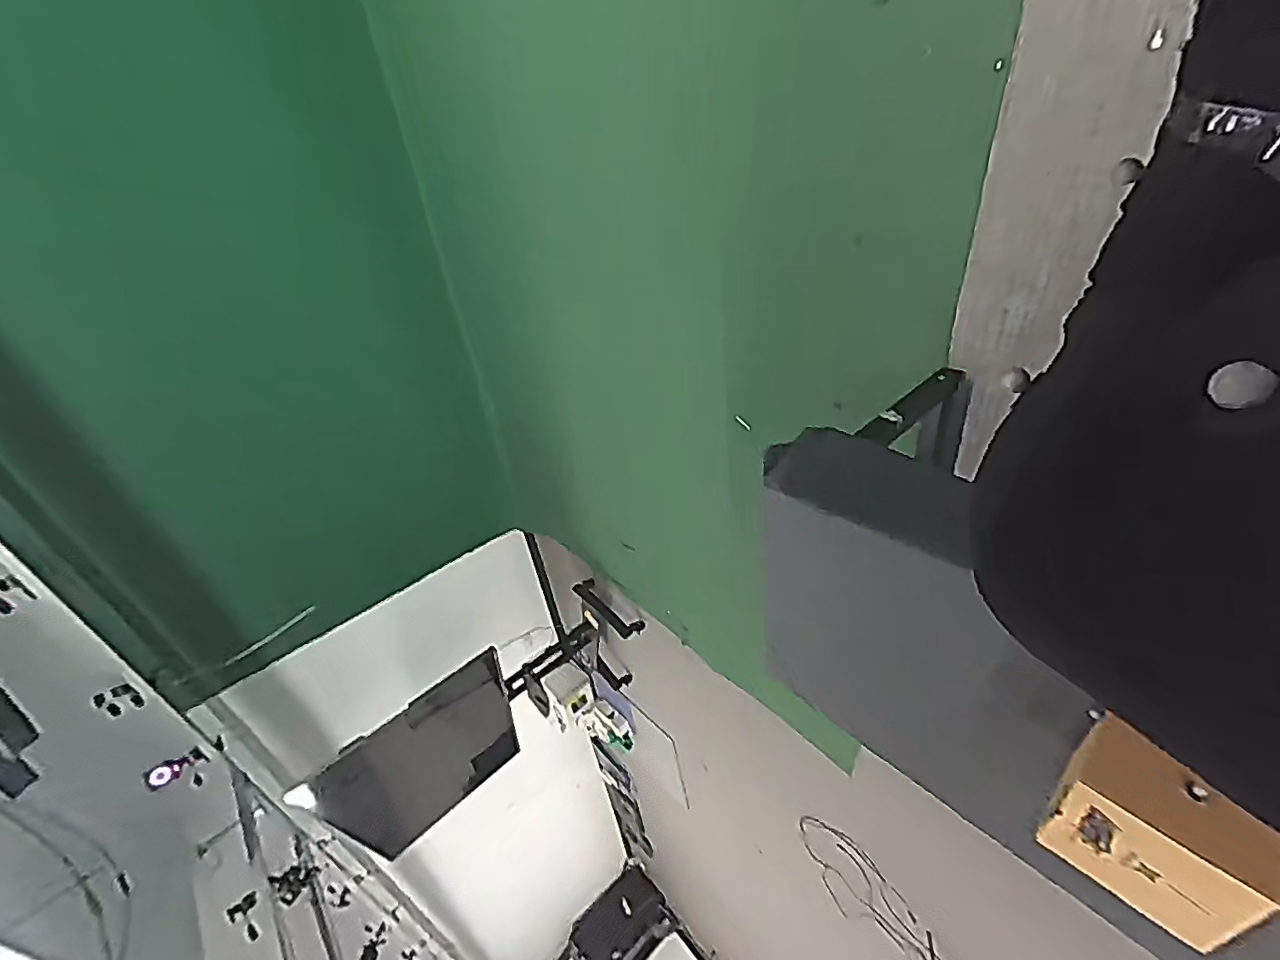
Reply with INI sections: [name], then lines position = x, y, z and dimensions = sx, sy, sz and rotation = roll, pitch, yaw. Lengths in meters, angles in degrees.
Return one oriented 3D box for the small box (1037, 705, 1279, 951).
[small box]
position = 0.652, 0.416, 0.678
dimensions = 0.179, 0.176, 0.168
rotation = 29, 139, 40
